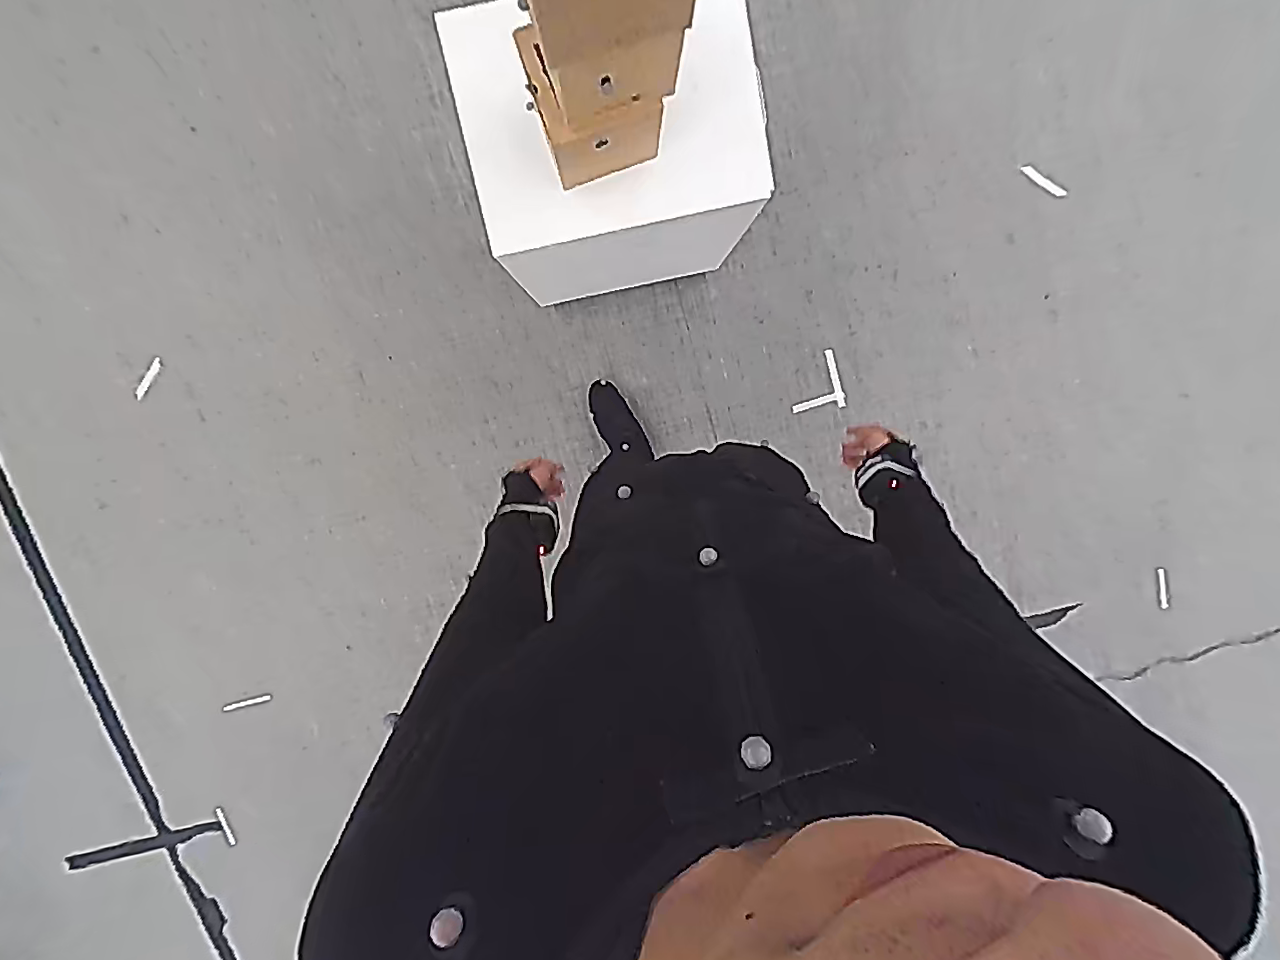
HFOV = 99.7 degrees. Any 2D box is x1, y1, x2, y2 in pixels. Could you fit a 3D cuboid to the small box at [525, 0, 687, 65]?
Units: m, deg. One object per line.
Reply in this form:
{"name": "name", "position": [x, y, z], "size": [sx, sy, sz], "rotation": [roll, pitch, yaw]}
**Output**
{"name": "small box", "position": [-0.046, -0.559, 0.533], "size": [0.179, 0.176, 0.168], "rotation": [-16, 99, 0]}

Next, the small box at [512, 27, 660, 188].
{"name": "small box", "position": [-0.078, -0.596, 0.857], "size": [0.179, 0.176, 0.168], "rotation": [-20, 99, 0]}

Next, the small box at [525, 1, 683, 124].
{"name": "small box", "position": [-0.053, -0.596, 0.694], "size": [0.168, 0.176, 0.179], "rotation": [-19, 98, 1]}
